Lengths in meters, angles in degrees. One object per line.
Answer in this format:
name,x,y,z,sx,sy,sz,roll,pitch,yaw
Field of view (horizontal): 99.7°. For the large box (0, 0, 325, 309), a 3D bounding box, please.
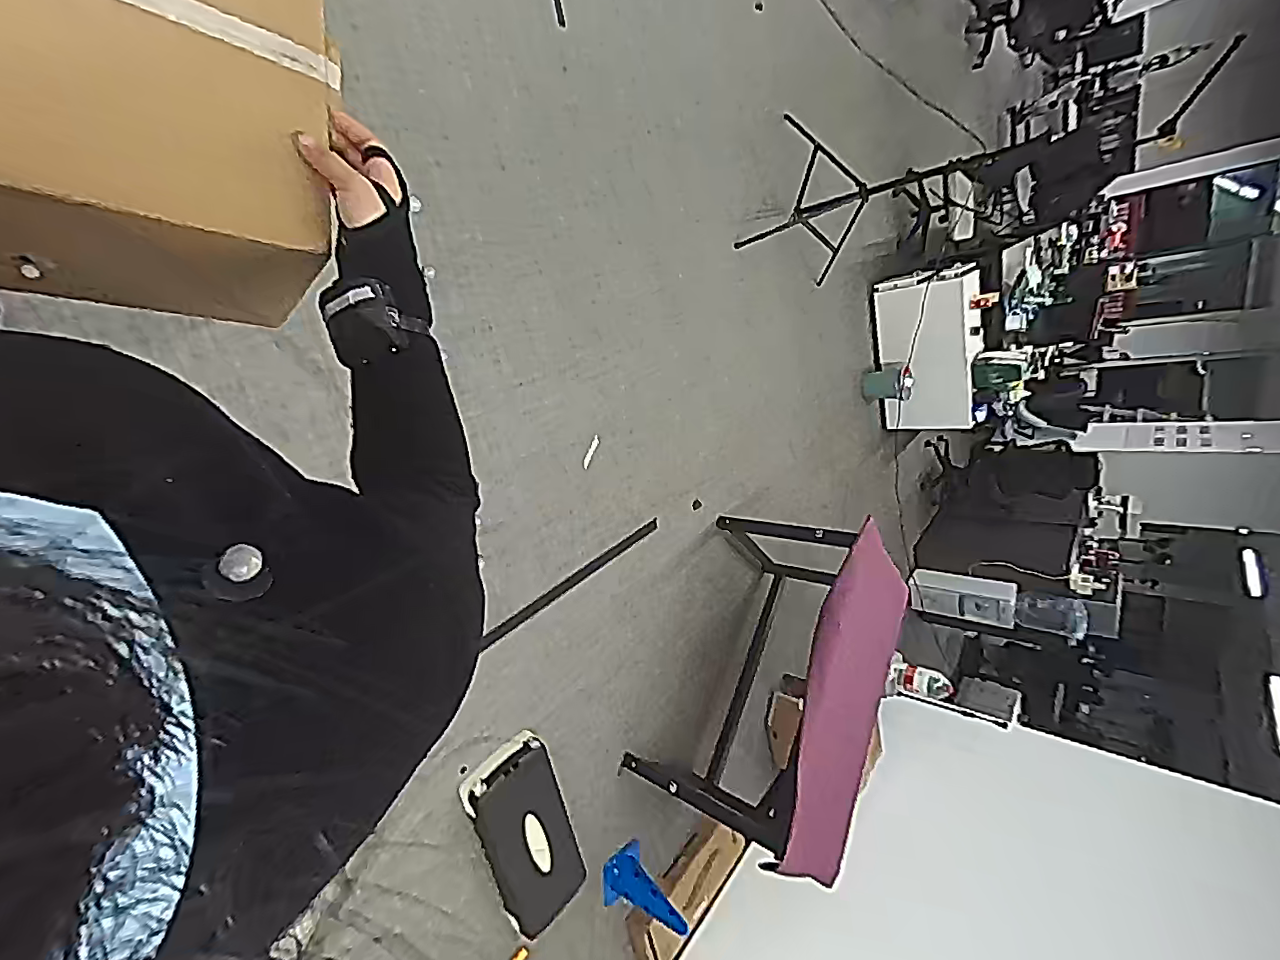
large box,-0.527,-0.358,0.458,0.408,0.320,0.320,-2,91,-40
